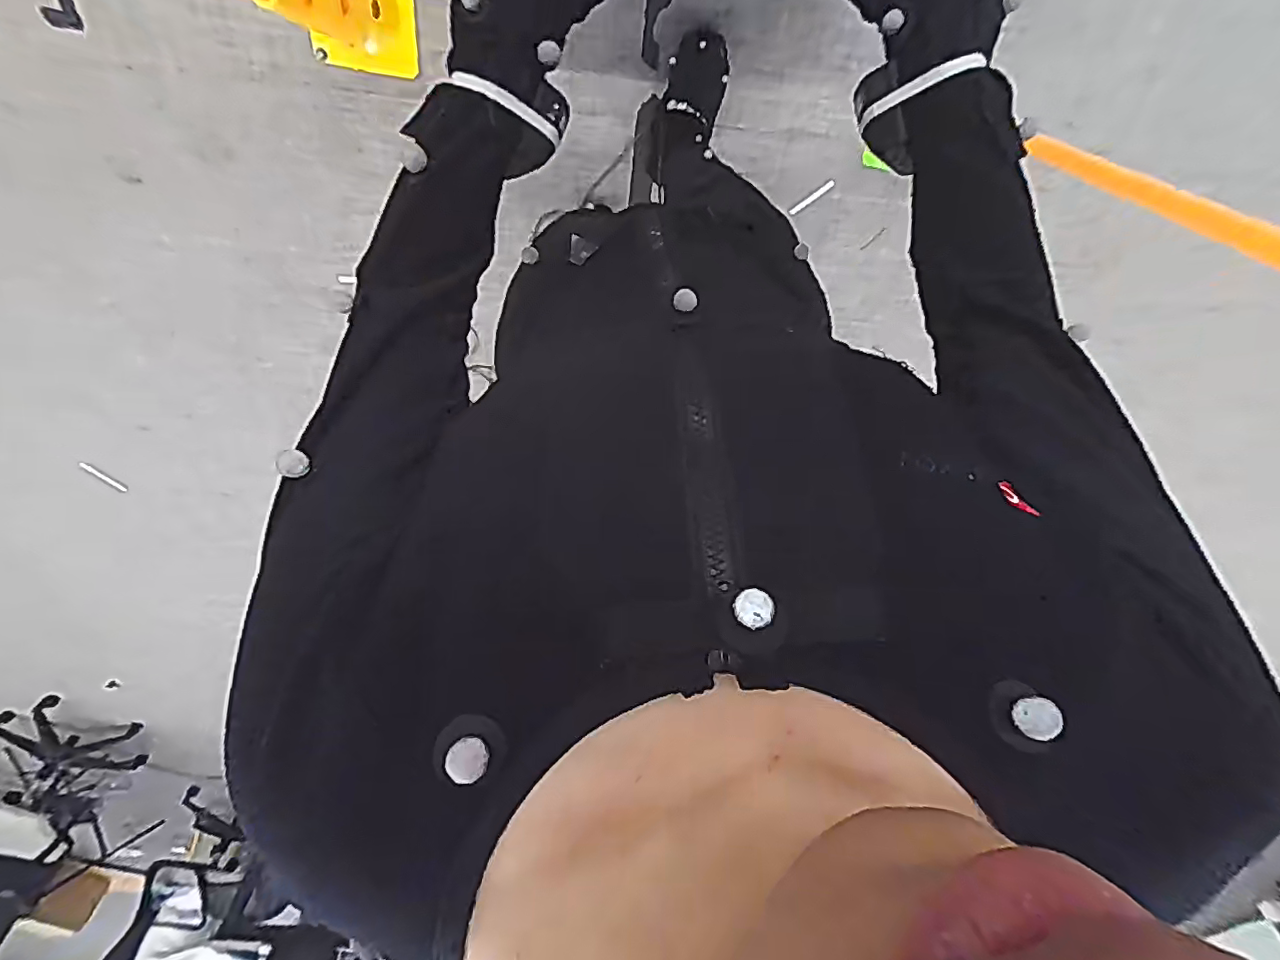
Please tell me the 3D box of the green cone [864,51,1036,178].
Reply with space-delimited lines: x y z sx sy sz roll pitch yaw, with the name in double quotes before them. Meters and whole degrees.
"green cone" 0.596 -0.651 0.995 0.202 0.368 0.200 6 128 -7
